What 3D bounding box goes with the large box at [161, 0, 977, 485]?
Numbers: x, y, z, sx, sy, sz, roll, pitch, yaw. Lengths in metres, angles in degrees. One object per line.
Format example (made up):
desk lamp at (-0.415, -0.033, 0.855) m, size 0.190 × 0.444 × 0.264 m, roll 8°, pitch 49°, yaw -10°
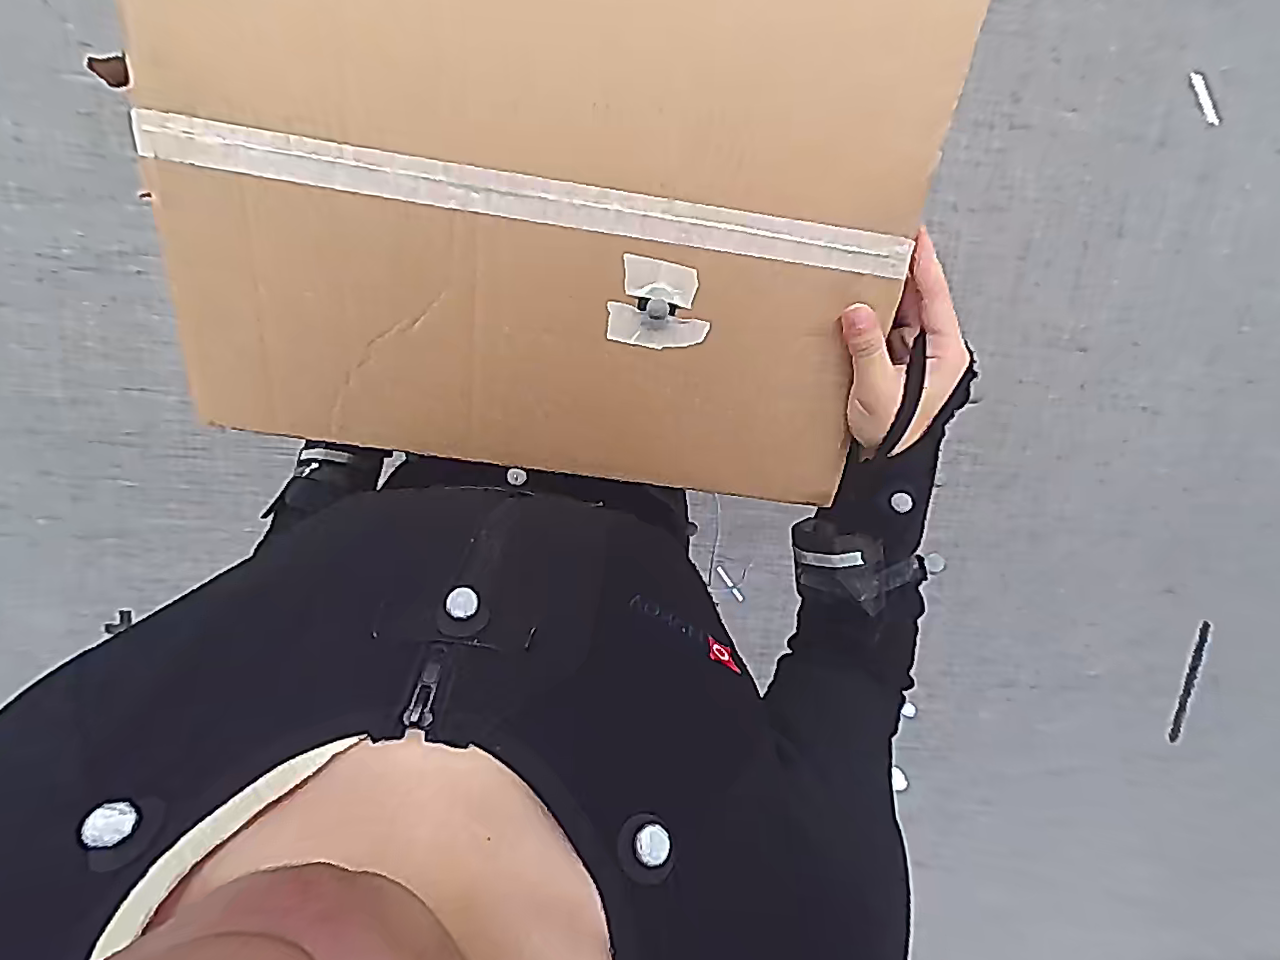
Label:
large box at (-0.050, -0.211, 0.435) m, size 0.408 × 0.320 × 0.320 m, roll 6°, pitch 113°, yaw -5°
